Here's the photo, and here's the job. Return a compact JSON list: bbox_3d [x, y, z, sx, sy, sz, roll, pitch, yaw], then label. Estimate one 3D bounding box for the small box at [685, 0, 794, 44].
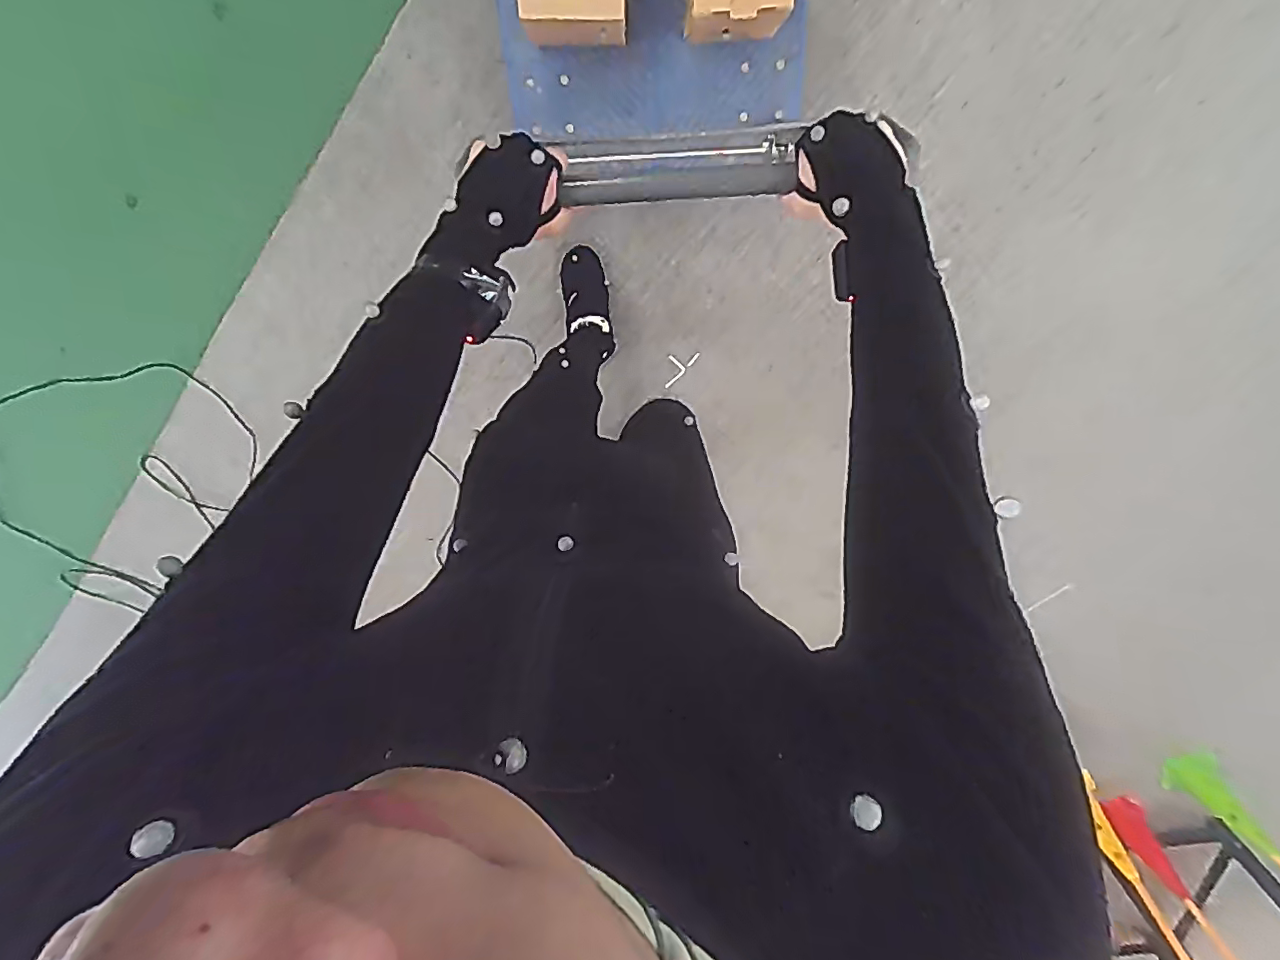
[{"bbox_3d":[0.163,-0.872,0.914,0.168,0.176,0.179,-4,118,1],"label":"small box"}]
